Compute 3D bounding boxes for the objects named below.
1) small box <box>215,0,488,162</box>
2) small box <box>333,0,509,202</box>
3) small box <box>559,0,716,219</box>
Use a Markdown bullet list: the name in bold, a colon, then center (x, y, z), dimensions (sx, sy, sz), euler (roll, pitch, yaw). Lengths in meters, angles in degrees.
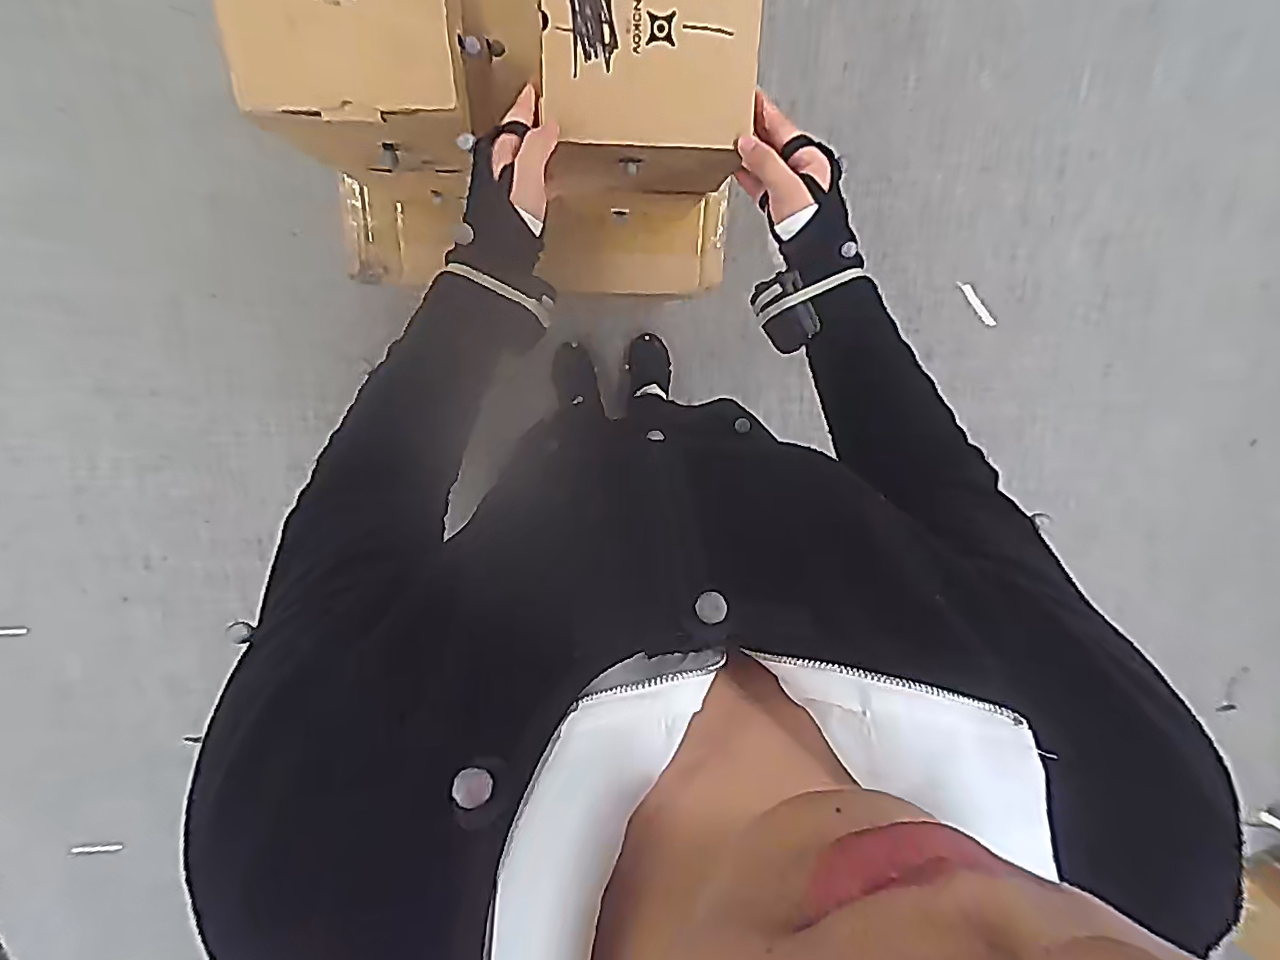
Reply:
- **small box**: center (-0.236, -0.392, 0.472), dimensions (0.168, 0.176, 0.179), euler (-3, 108, -4)
- **small box**: center (-0.250, -0.439, 0.630), dimensions (0.168, 0.176, 0.179), euler (-2, 108, -5)
- **small box**: center (-0.009, -0.429, 0.655), dimensions (0.168, 0.176, 0.179), euler (1, 108, -2)
